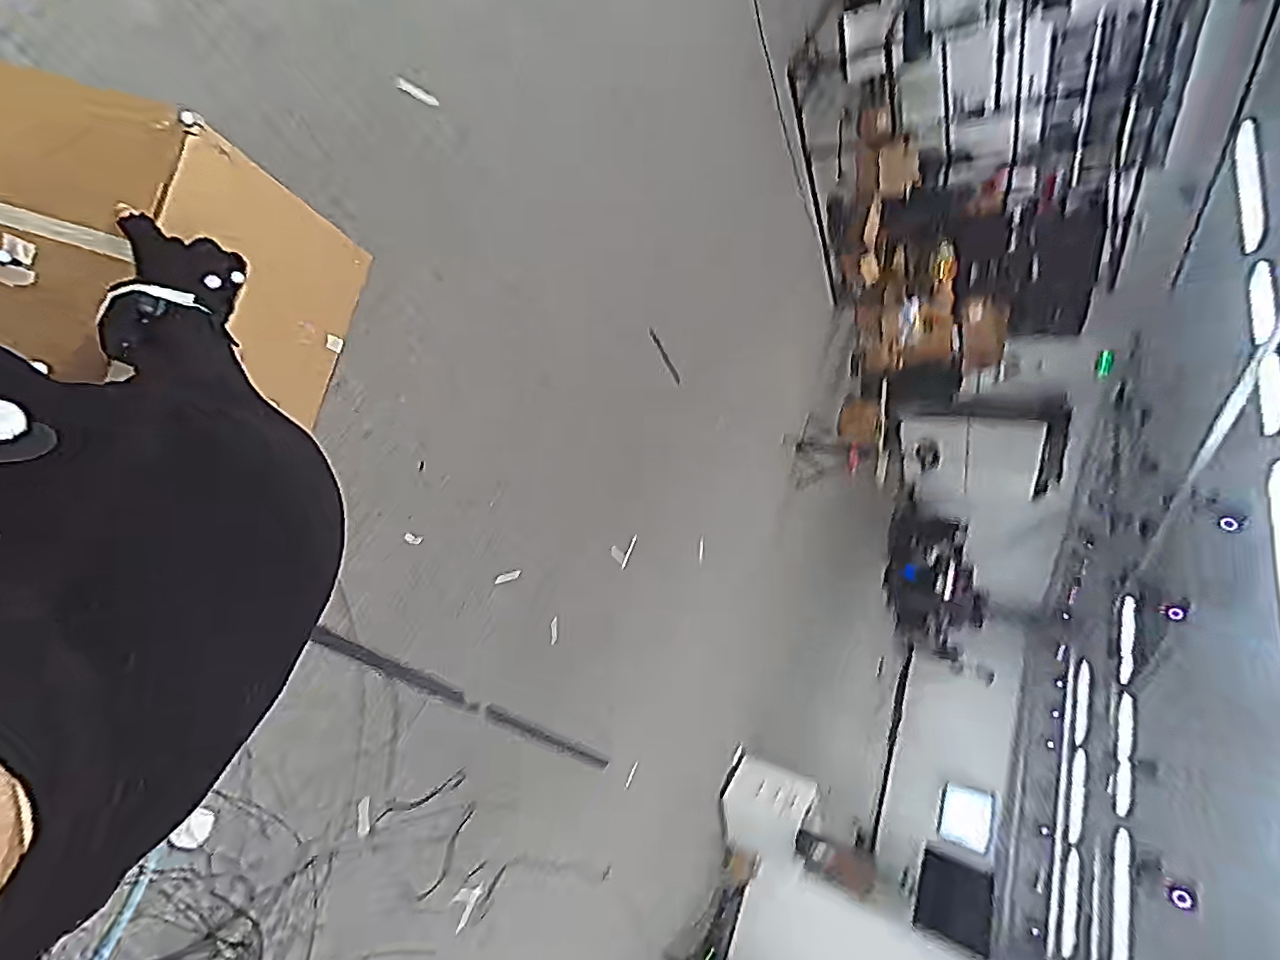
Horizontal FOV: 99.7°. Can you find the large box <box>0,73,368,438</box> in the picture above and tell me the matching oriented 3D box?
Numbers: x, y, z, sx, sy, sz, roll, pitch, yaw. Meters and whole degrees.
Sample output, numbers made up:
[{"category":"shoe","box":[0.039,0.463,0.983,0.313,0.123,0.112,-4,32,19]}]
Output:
[{"category":"large box","box":[-0.676,-0.273,0.730,0.320,0.408,0.320,17,91,-85]}]
